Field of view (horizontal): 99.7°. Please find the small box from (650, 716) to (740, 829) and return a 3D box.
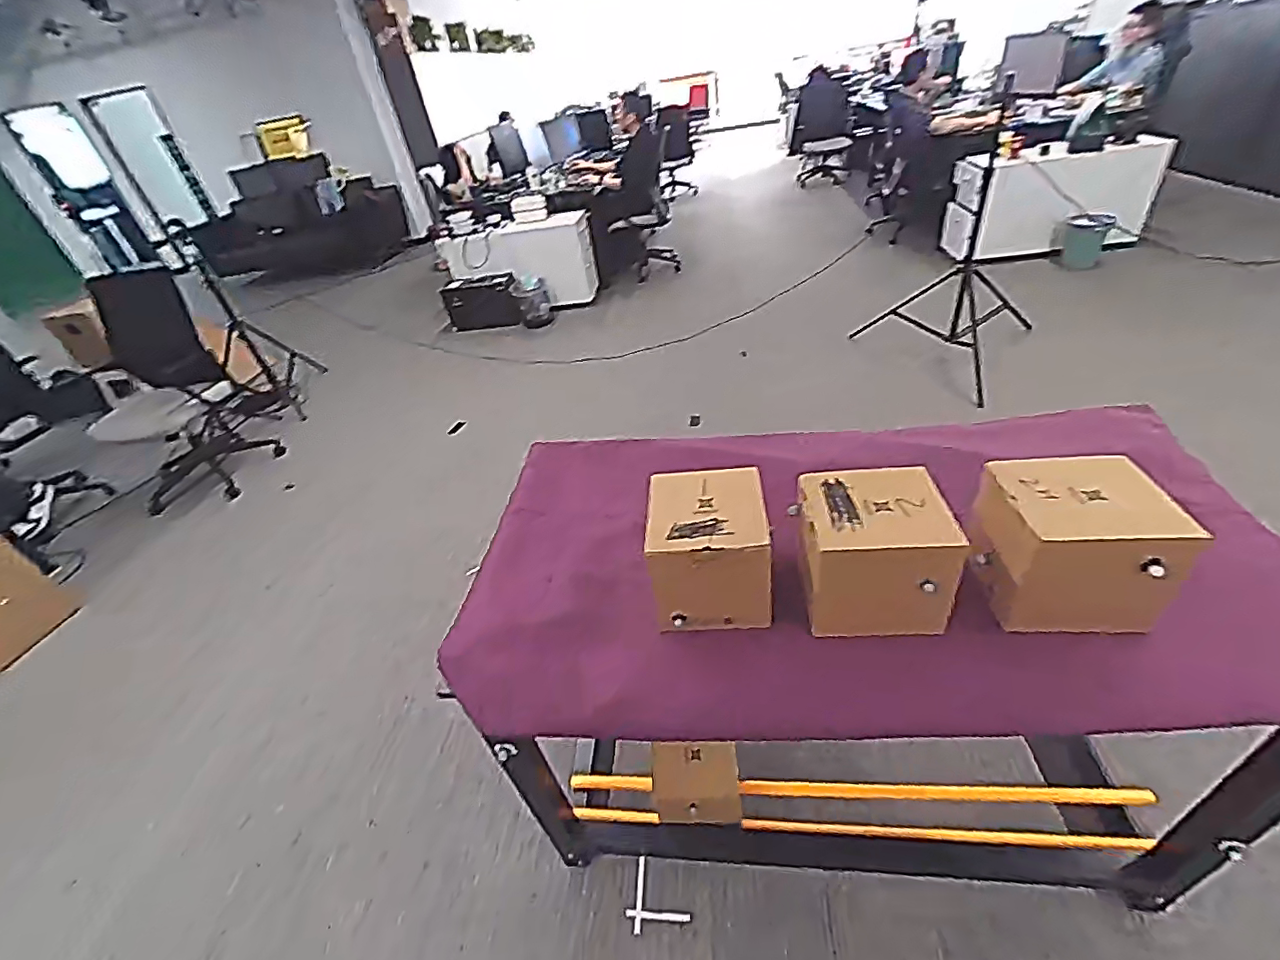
[{"bbox_3d":[0.119,0.626,1.157,0.179,0.176,0.168,-6,39,7],"label":"small box"}]
